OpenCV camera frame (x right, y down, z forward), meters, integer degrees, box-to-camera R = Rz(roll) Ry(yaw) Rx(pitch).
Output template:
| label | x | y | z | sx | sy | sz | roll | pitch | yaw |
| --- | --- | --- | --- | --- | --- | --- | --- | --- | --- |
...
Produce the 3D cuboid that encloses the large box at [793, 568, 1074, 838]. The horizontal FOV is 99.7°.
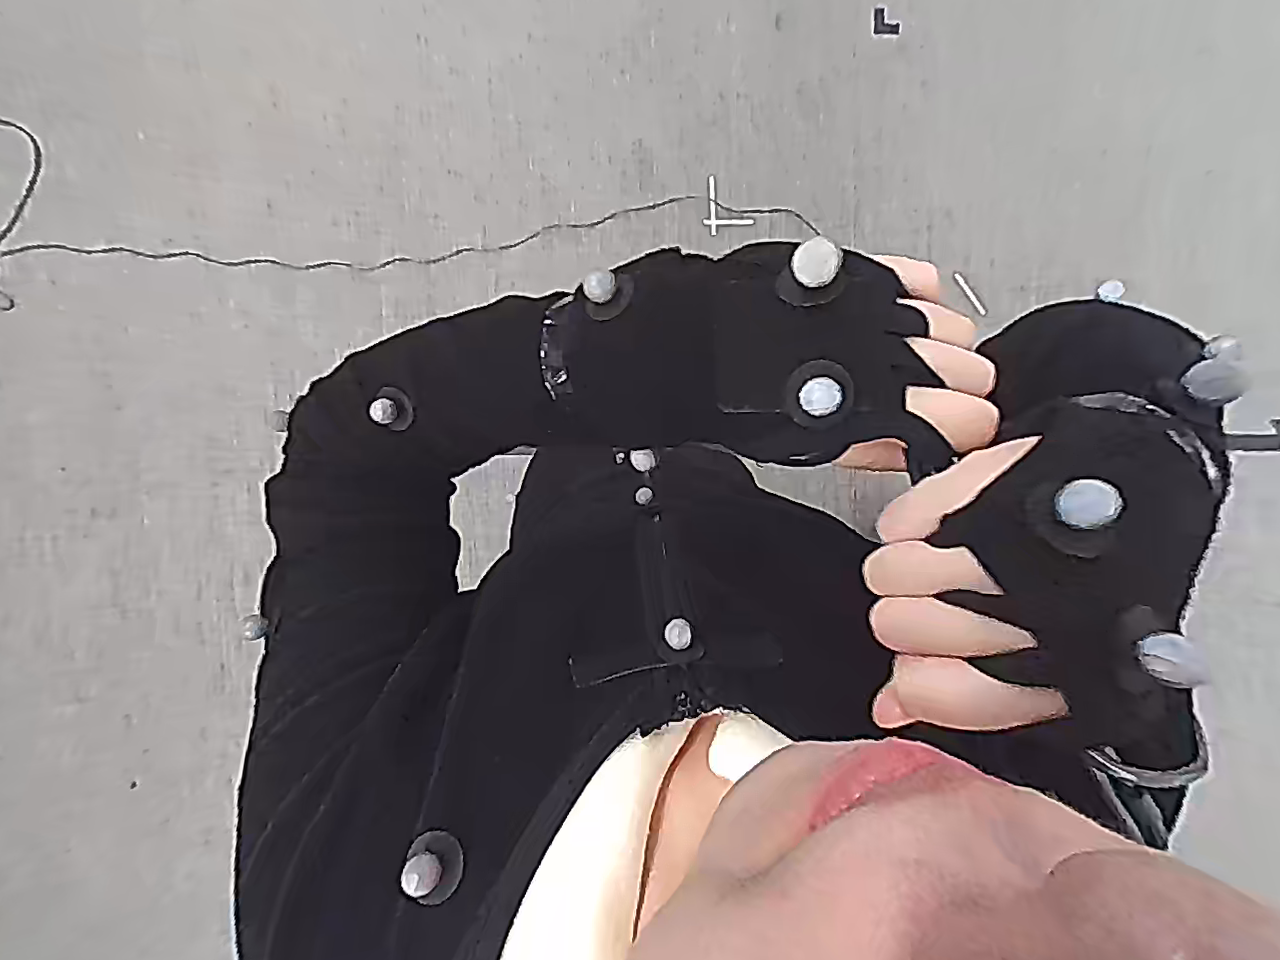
| label | x | y | z | sx | sy | sz | roll | pitch | yaw |
| --- | --- | --- | --- | --- | --- | --- | --- | --- | --- |
| large box | 0.626 | 0.470 | 1.222 | 0.320 | 0.320 | 0.408 | -40 | 95 | 2 |
